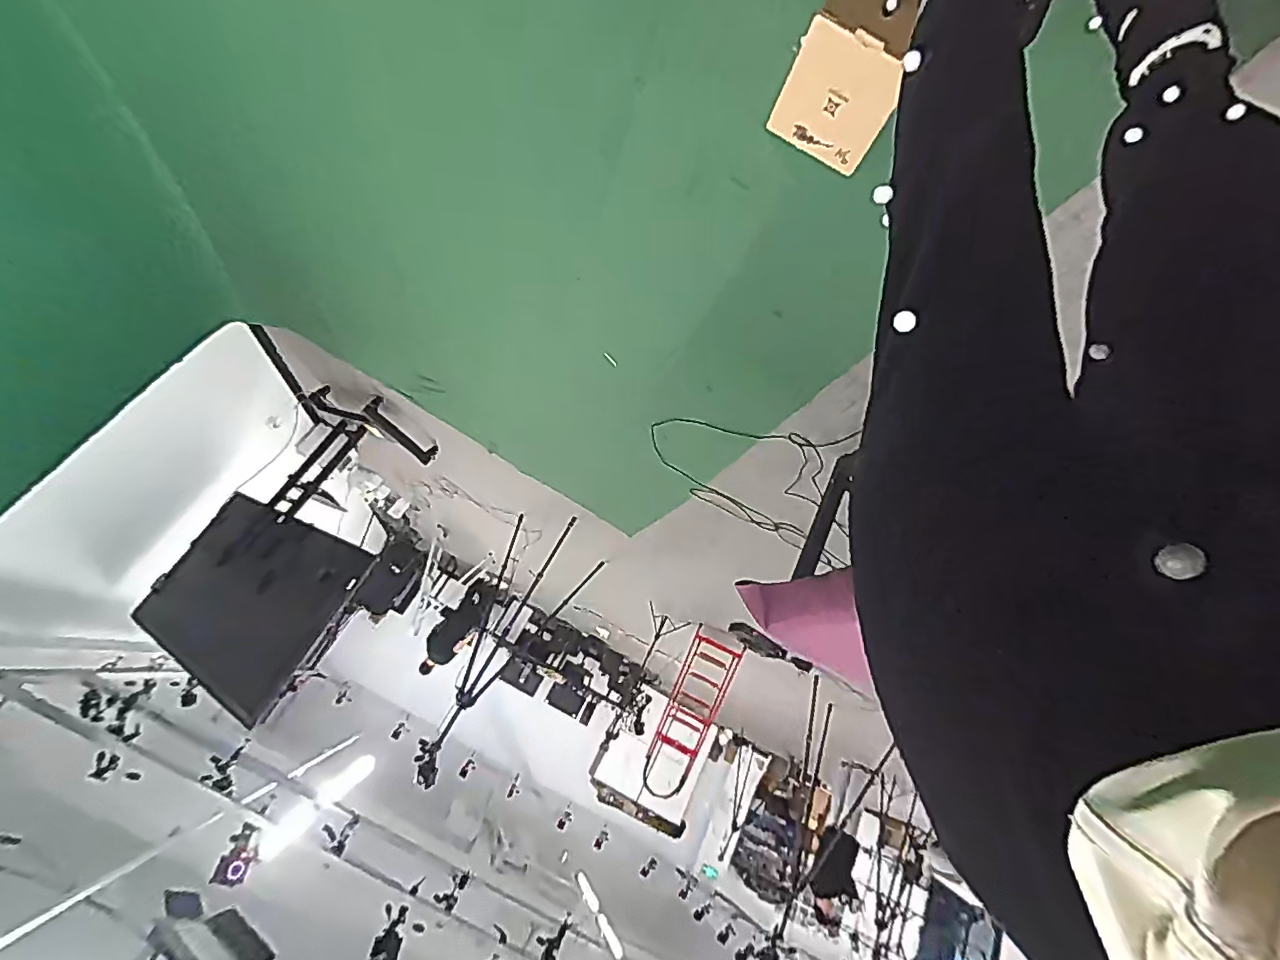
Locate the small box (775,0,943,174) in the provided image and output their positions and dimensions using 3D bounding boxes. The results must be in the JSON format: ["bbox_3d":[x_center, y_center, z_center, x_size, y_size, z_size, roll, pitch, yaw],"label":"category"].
[{"bbox_3d":[0.348,-0.645,0.859,0.168,0.176,0.179,31,156,0],"label":"small box"}]

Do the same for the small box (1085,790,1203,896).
[{"bbox_3d":[1.374,0.976,1.473,0.168,0.176,0.179,29,156,2],"label":"small box"}]
